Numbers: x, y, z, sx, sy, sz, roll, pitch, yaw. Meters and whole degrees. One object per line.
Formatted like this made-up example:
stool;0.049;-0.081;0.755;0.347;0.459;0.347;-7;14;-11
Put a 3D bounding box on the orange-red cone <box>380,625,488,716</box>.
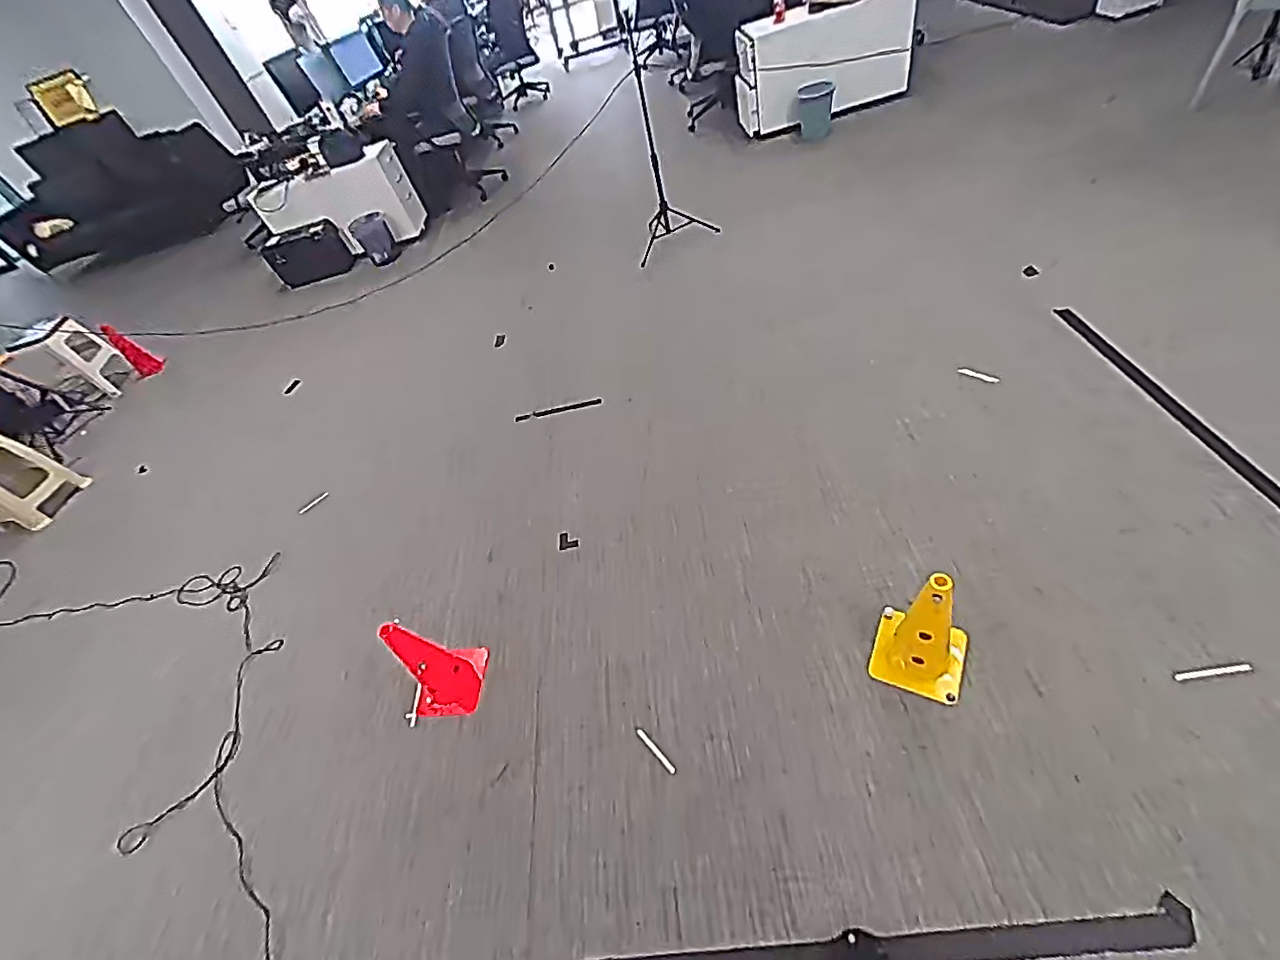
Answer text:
orange-red cone;-0.603;0.497;1.500;0.199;0.360;0.198;-6;49;12
